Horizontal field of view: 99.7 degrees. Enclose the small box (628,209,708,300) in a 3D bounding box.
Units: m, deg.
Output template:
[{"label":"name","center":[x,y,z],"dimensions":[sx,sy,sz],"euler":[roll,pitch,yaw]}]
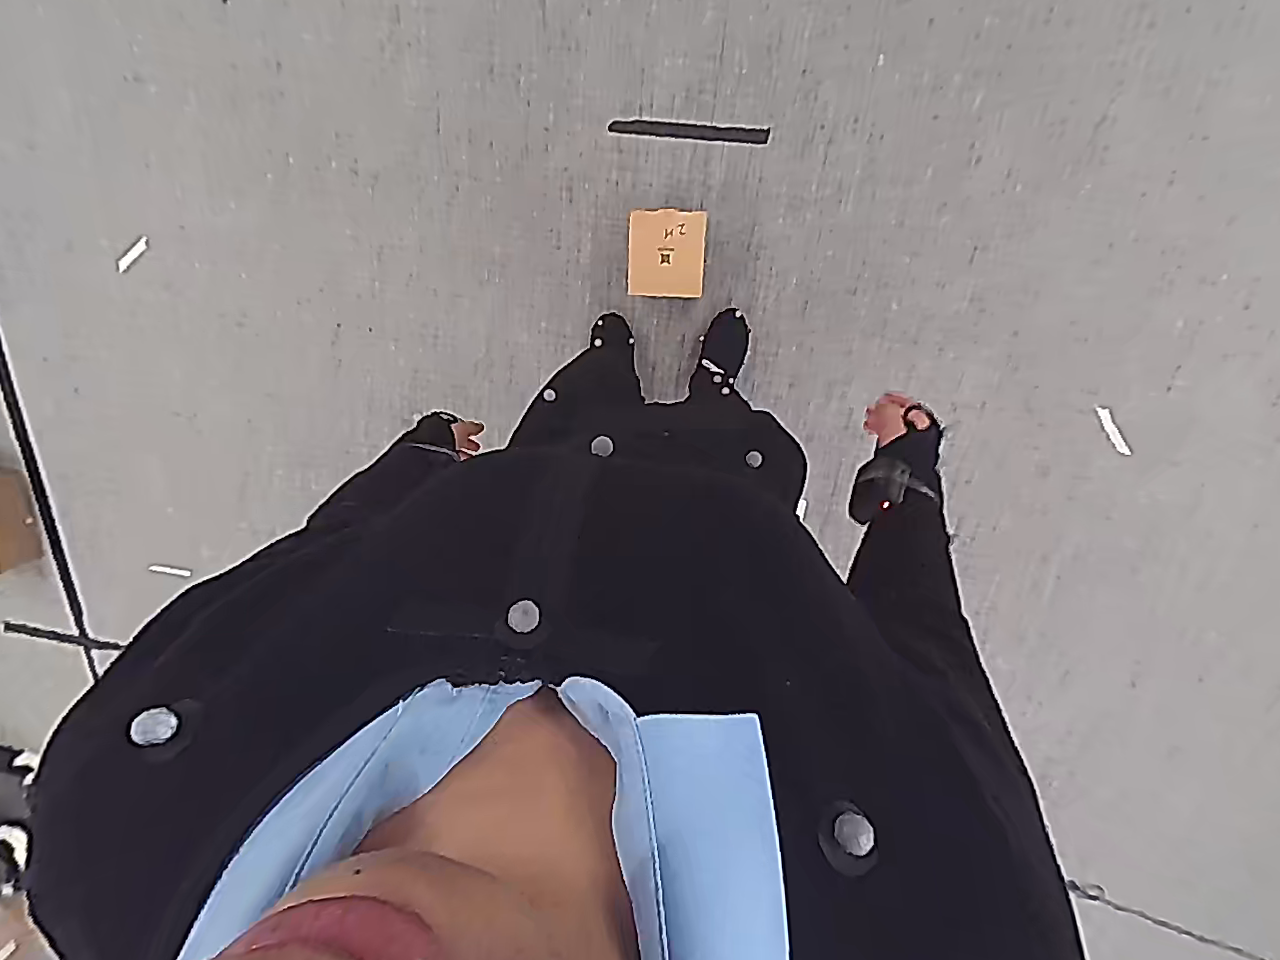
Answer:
[{"label":"small box","center":[0.067,-0.511,1.237],"dimensions":[0.168,0.176,0.179],"euler":[5,110,5]}]
